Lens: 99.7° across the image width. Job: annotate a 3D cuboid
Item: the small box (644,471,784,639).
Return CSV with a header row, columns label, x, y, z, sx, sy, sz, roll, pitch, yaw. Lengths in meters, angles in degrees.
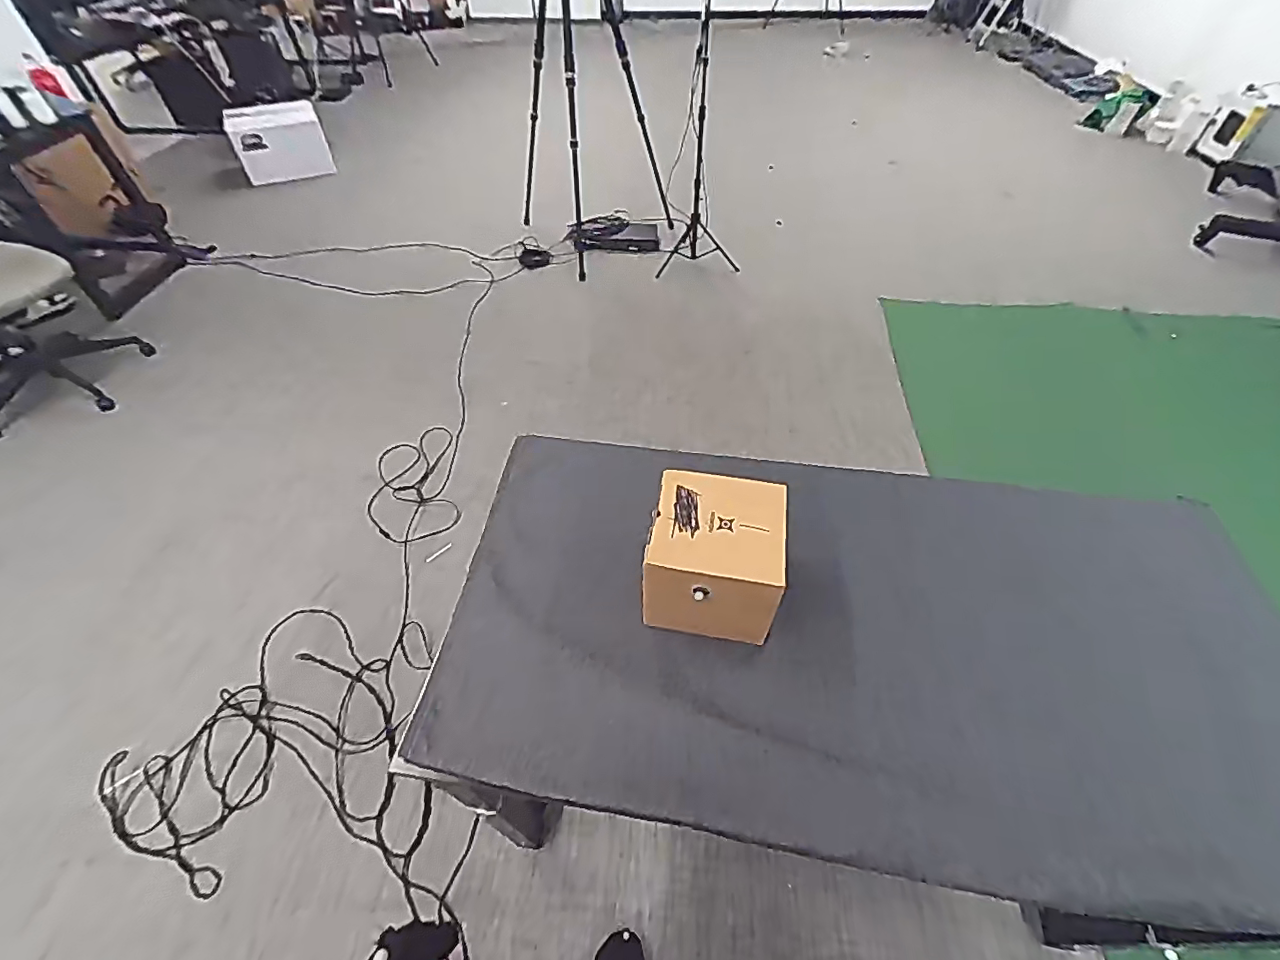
label,x,y,z,sx,sy,sz,roll,pitch,yaw
small box,0.104,0.112,0.786,0.179,0.176,0.168,9,49,6
